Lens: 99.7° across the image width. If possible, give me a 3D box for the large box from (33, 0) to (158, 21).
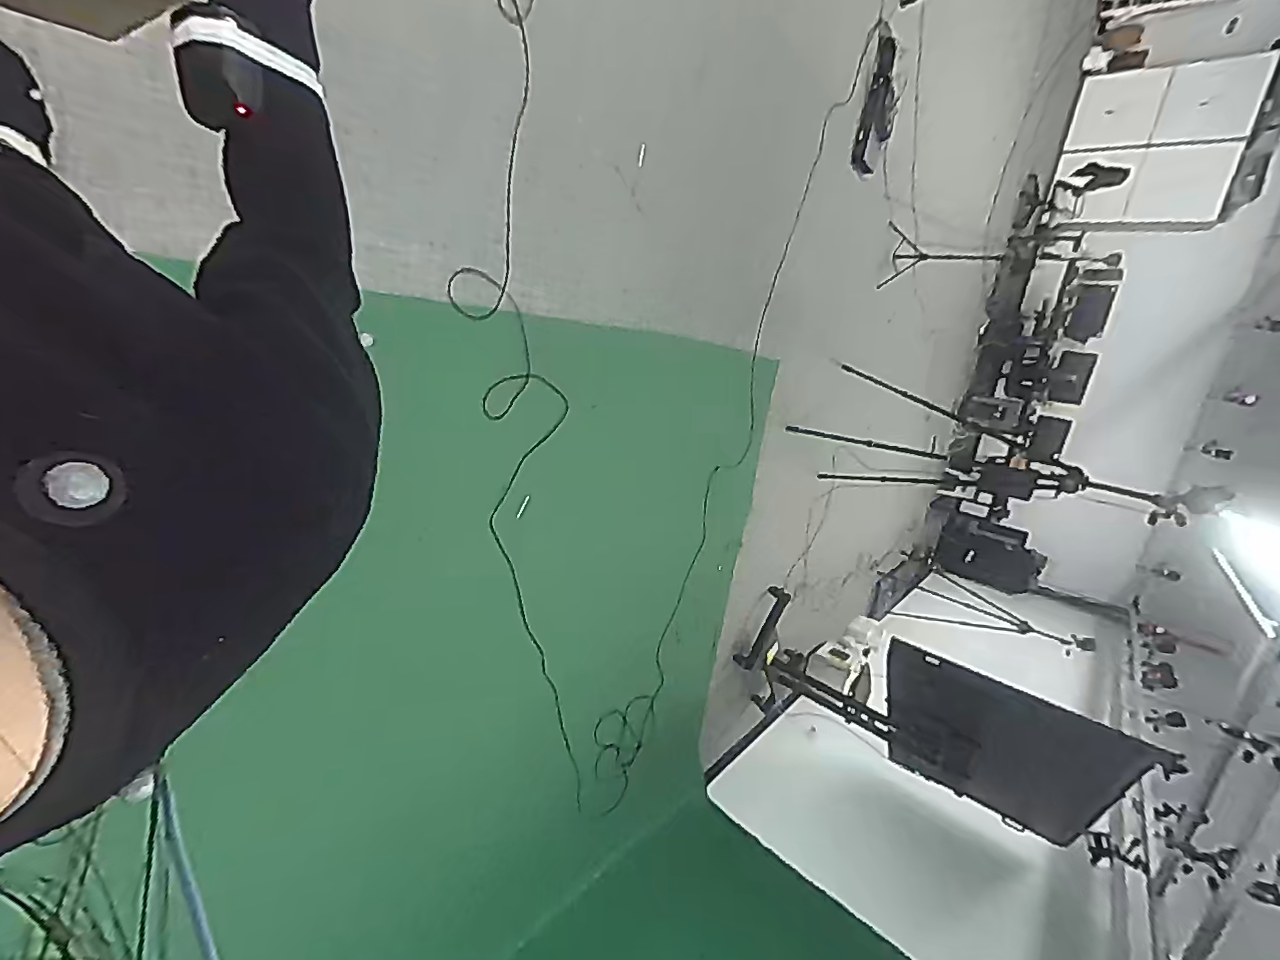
[{"bbox_3d":[-0.530,-0.515,0.275,0.408,0.320,0.320,-17,122,-48],"label":"large box"}]
